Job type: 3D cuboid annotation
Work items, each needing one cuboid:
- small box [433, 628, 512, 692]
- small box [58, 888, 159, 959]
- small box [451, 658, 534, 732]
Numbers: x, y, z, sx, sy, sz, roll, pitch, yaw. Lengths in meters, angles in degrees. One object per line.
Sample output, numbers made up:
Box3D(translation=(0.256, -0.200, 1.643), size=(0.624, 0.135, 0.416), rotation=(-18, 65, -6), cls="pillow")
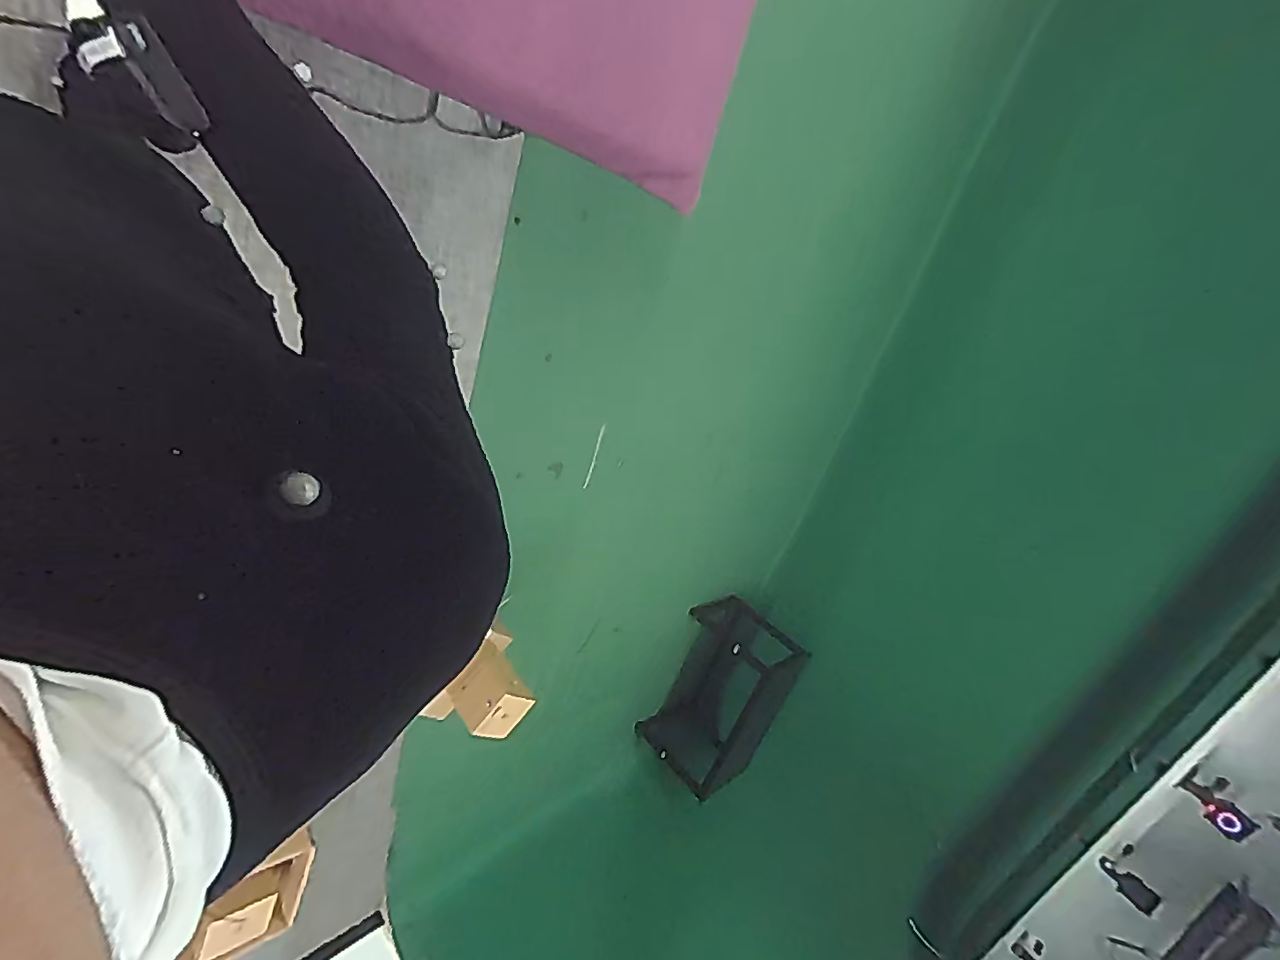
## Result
Box3D(translation=(-0.607, 0.660, 1.956), size=(0.168, 0.176, 0.179), rotation=(-50, 143, -6), cls="small box")
Box3D(translation=(-1.358, 1.206, 1.379), size=(0.168, 0.176, 0.179), rotation=(4, 114, -50), cls="small box")
Box3D(translation=(-0.505, 0.734, 1.851), size=(0.168, 0.176, 0.179), rotation=(-50, 144, -5), cls="small box")
